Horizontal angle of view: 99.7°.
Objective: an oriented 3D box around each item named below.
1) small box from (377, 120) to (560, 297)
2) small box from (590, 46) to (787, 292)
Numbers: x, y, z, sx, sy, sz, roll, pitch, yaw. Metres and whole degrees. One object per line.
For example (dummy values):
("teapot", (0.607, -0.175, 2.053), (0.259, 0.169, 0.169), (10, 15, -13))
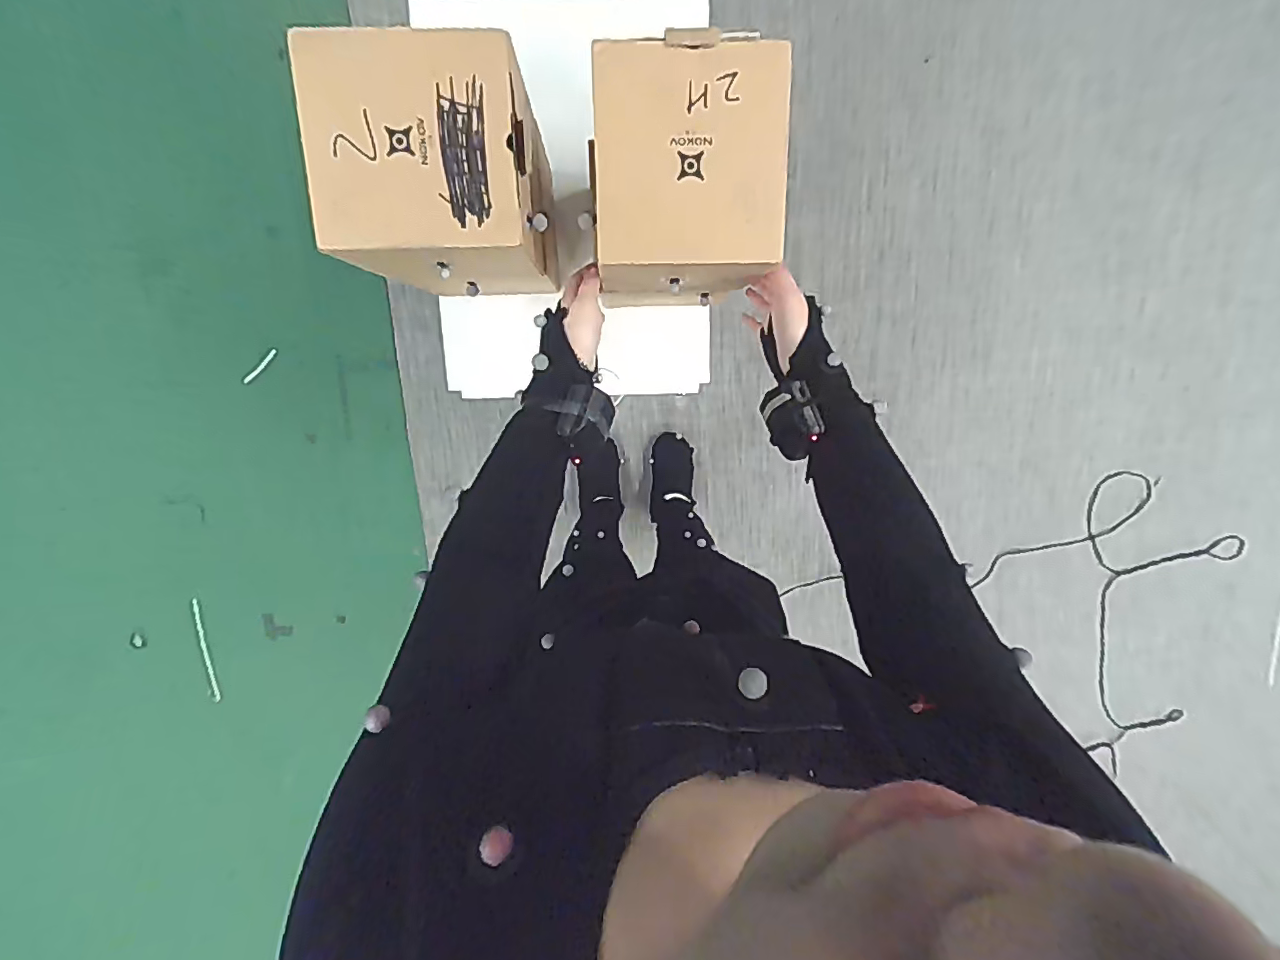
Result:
("small box", (-0.203, -0.330, 0.688), (0.179, 0.176, 0.168), (-3, 102, -2))
("small box", (0.037, -0.287, 0.540), (0.168, 0.176, 0.179), (-1, 101, -3))
